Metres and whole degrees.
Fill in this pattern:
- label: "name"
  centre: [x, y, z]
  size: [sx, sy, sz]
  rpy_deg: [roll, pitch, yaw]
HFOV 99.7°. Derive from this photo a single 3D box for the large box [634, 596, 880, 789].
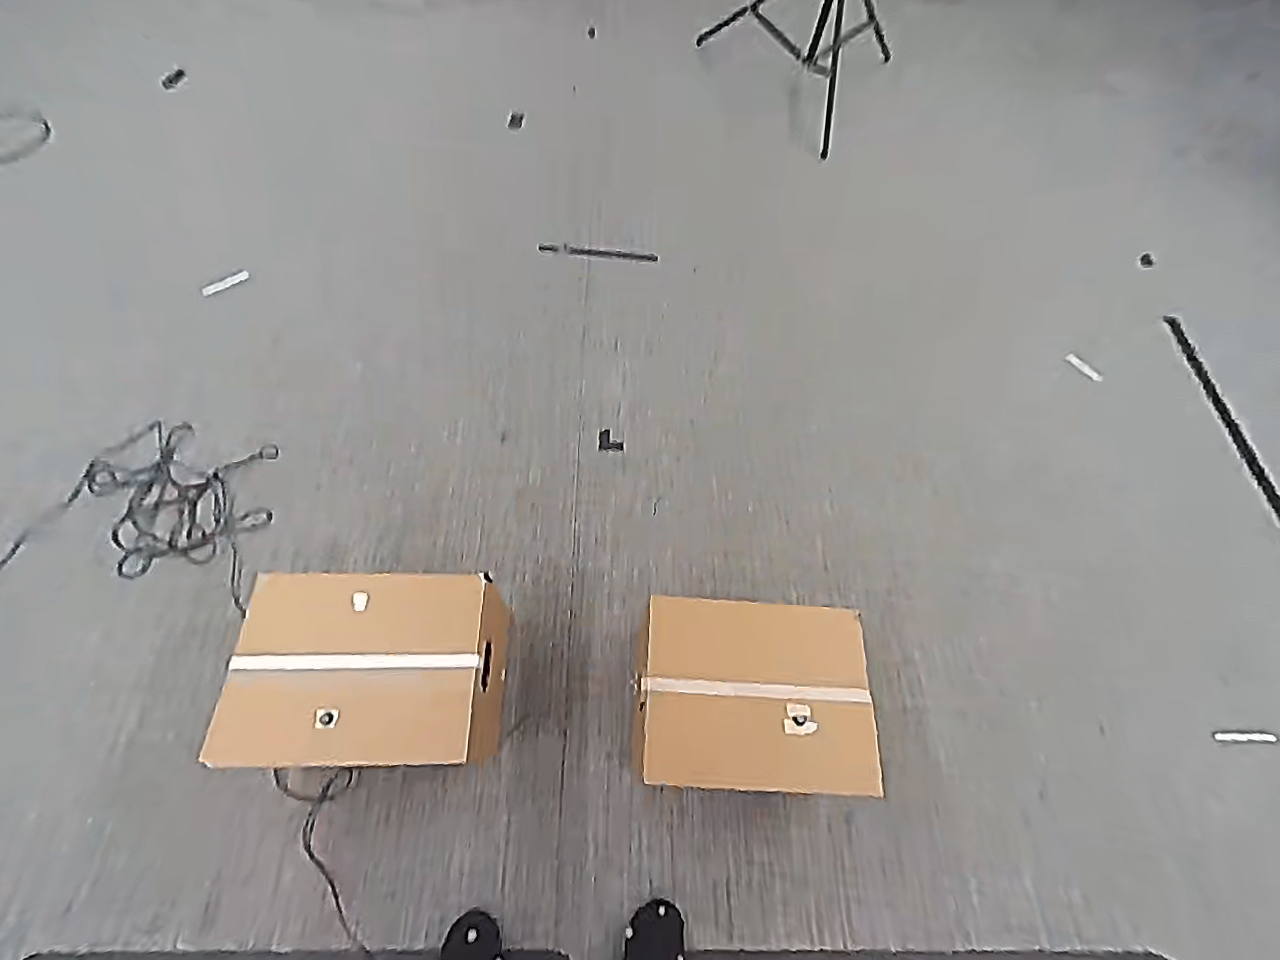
- label: "large box"
  centre: [0.201, 0.439, 1.101]
  size: [0.408, 0.320, 0.320]
  rpy_deg: [5, 63, -3]
